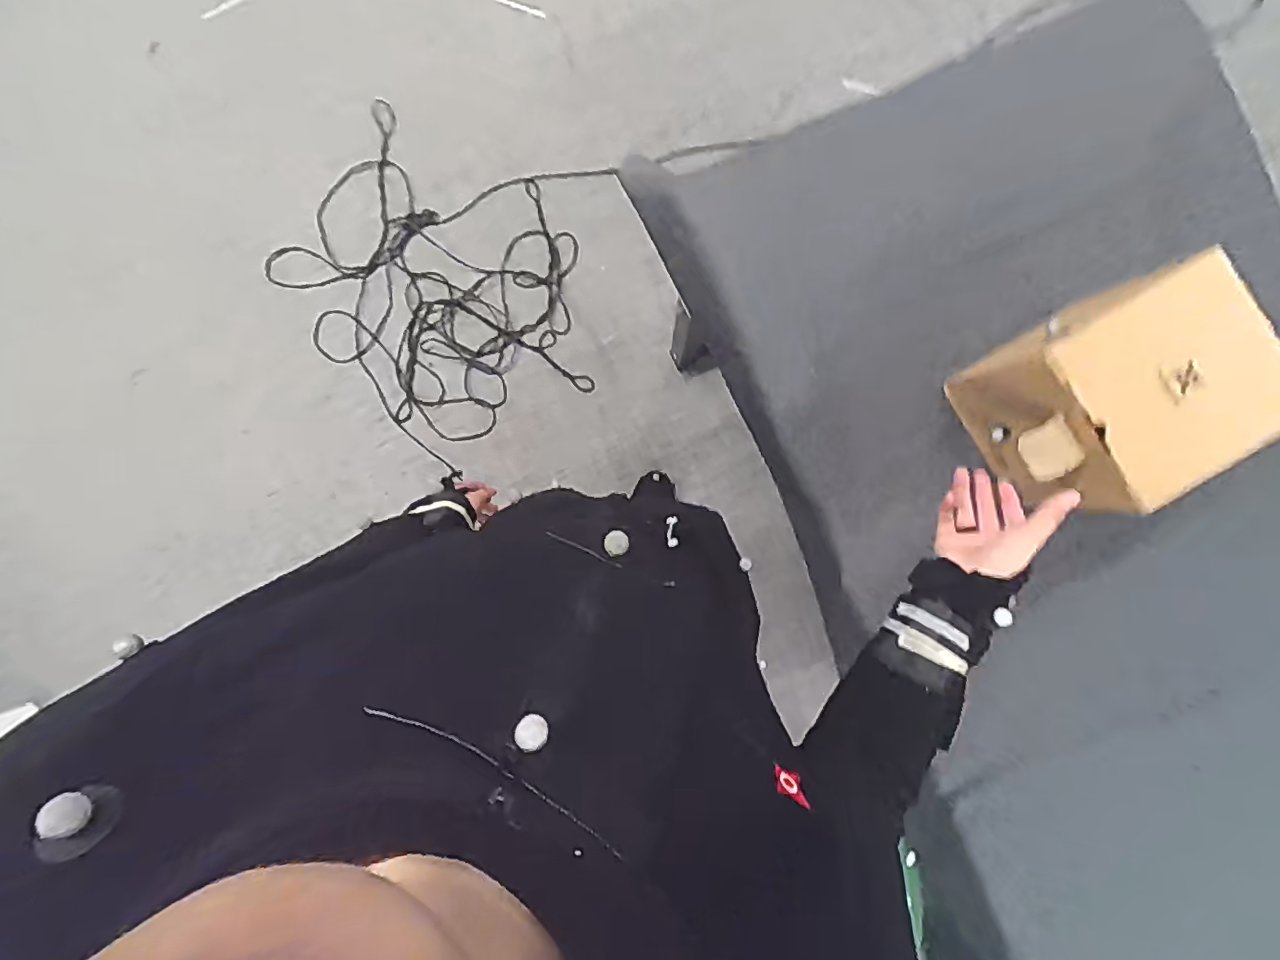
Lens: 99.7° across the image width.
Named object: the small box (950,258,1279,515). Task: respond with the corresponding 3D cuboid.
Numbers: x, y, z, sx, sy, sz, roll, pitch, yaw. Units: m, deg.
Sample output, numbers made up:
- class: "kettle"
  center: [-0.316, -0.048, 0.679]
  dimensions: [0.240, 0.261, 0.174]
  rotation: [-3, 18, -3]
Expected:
- class: "small box"
  center: [0.468, -0.084, 0.549]
  dimensions: [0.179, 0.176, 0.168]
  rotation: [-32, 90, 1]
